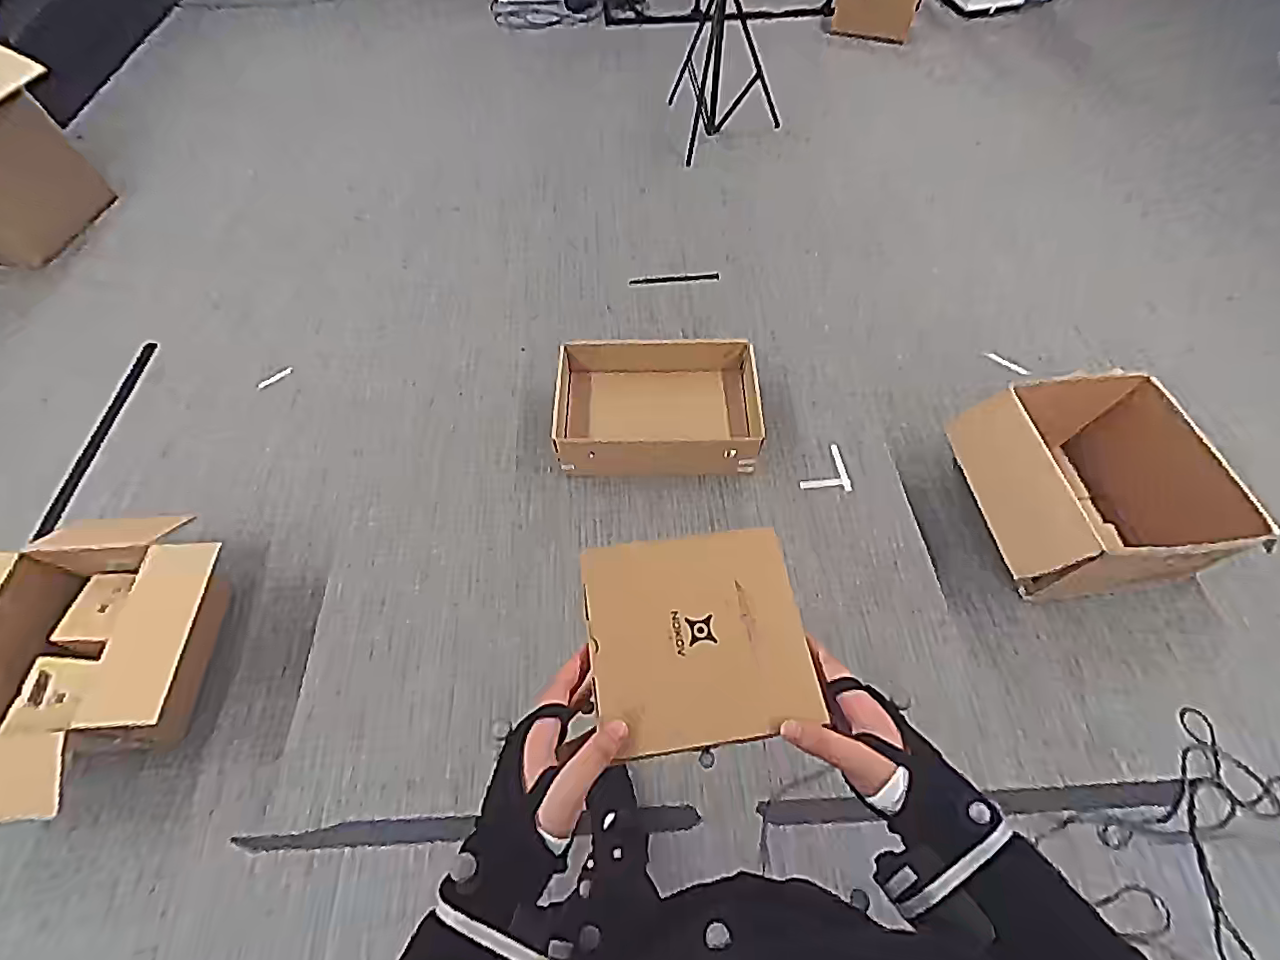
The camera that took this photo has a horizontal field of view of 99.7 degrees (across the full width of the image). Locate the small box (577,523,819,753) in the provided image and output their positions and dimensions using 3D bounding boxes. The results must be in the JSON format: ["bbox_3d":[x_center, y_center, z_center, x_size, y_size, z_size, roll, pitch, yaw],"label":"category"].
[{"bbox_3d":[0.040,0.158,0.517,0.179,0.176,0.168,-7,64,-7],"label":"small box"}]
